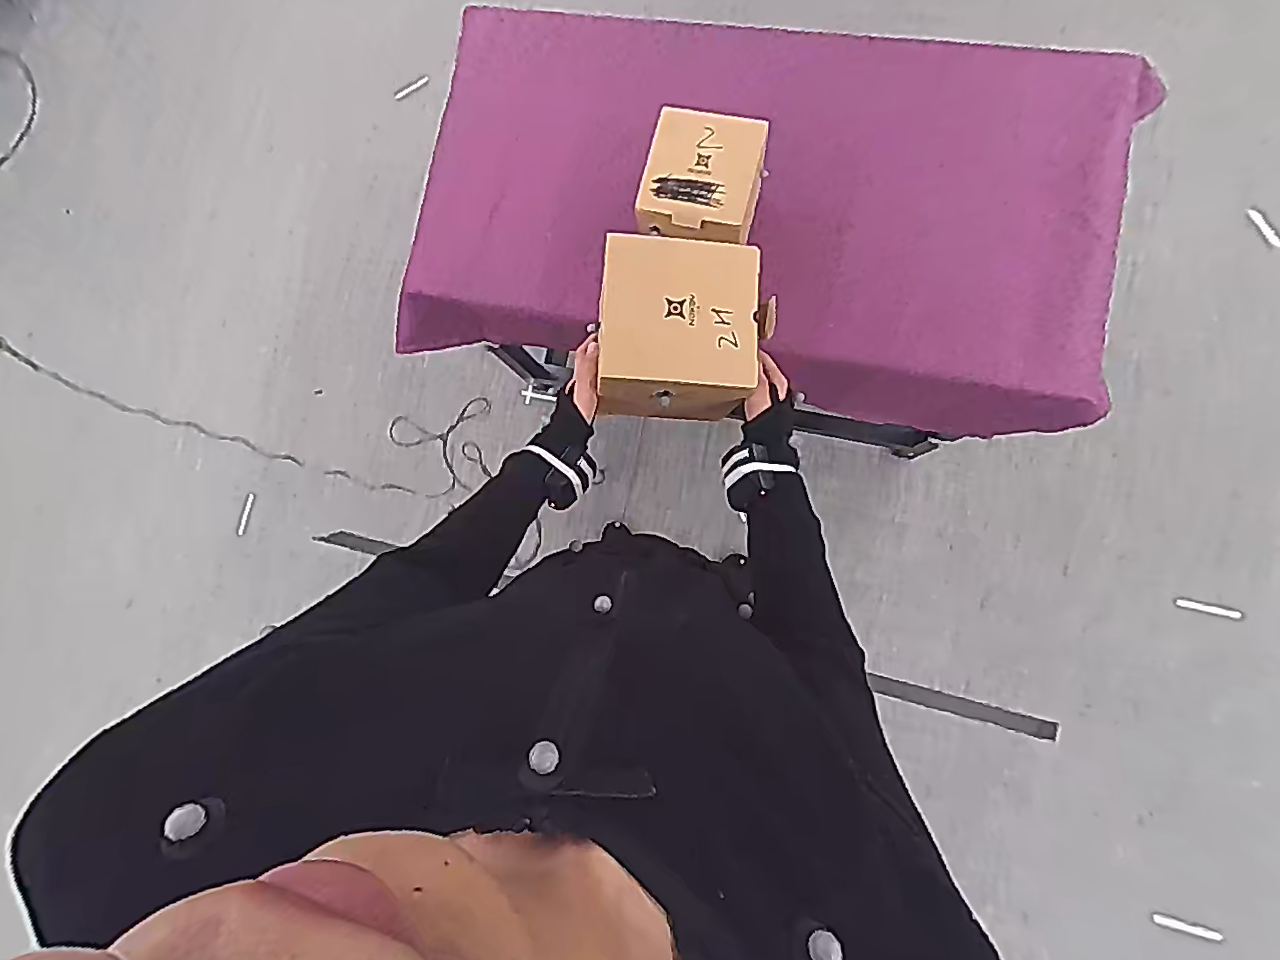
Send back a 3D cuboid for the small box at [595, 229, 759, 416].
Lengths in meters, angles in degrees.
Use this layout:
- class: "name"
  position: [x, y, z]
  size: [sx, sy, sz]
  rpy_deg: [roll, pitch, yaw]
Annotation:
- class: "small box"
  position: [0.036, -0.181, 0.669]
  size: [0.179, 0.176, 0.168]
  rpy_deg: [3, 84, -7]
